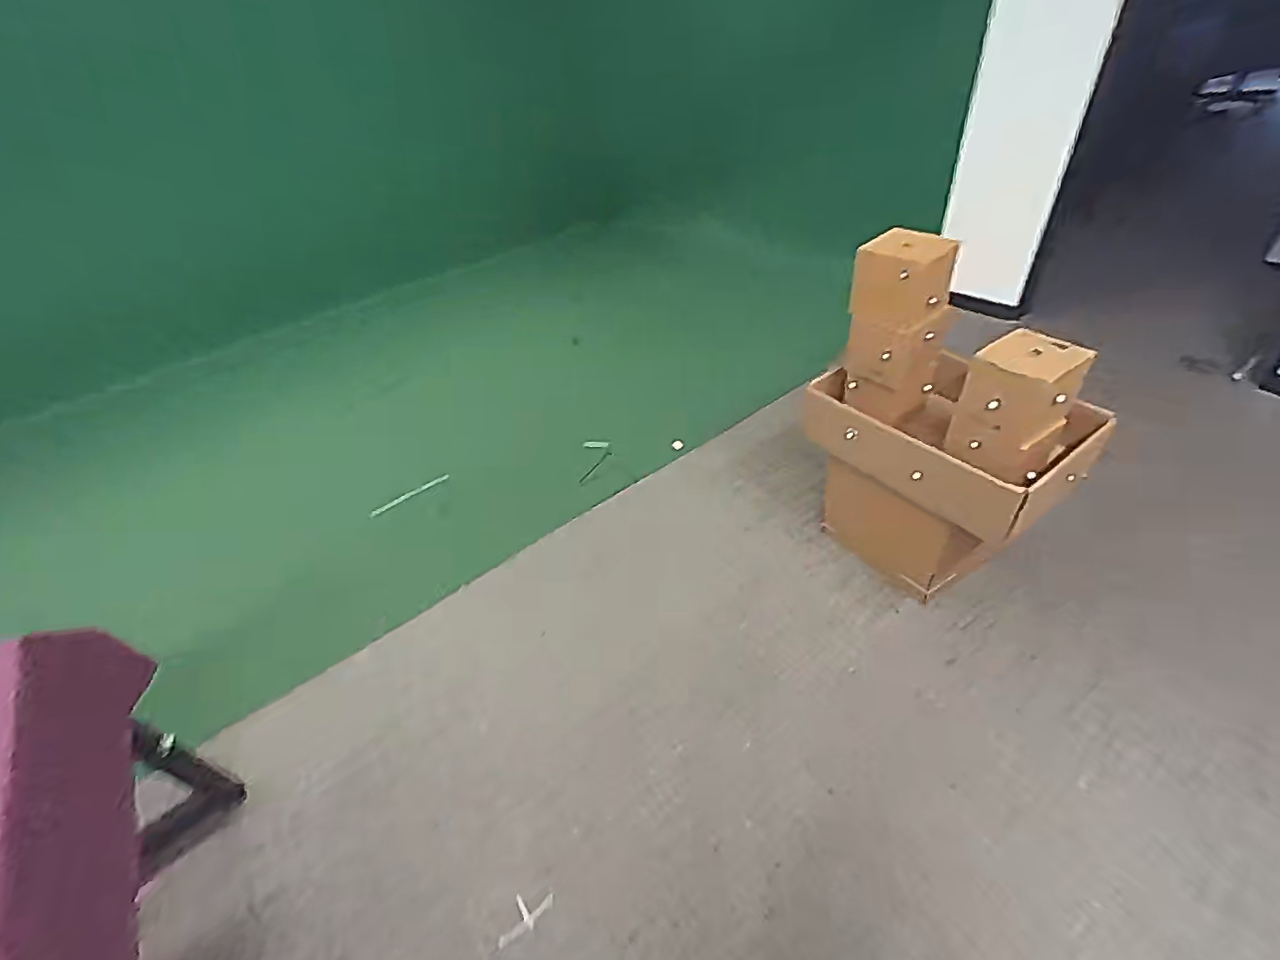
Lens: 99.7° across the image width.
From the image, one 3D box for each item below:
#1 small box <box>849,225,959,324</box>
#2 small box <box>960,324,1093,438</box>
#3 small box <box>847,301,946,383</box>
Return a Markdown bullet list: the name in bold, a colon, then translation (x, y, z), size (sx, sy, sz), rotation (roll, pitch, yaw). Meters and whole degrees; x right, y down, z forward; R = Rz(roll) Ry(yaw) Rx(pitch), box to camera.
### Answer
- **small box**: translation (0.643, -0.508, 1.339), size (0.168, 0.176, 0.179), rotation (-35, 48, -24)
- **small box**: translation (0.859, -0.223, 1.224), size (0.179, 0.176, 0.168), rotation (-29, 46, -19)
- **small box**: translation (0.674, -0.382, 1.439), size (0.179, 0.176, 0.168), rotation (-33, 47, -24)
